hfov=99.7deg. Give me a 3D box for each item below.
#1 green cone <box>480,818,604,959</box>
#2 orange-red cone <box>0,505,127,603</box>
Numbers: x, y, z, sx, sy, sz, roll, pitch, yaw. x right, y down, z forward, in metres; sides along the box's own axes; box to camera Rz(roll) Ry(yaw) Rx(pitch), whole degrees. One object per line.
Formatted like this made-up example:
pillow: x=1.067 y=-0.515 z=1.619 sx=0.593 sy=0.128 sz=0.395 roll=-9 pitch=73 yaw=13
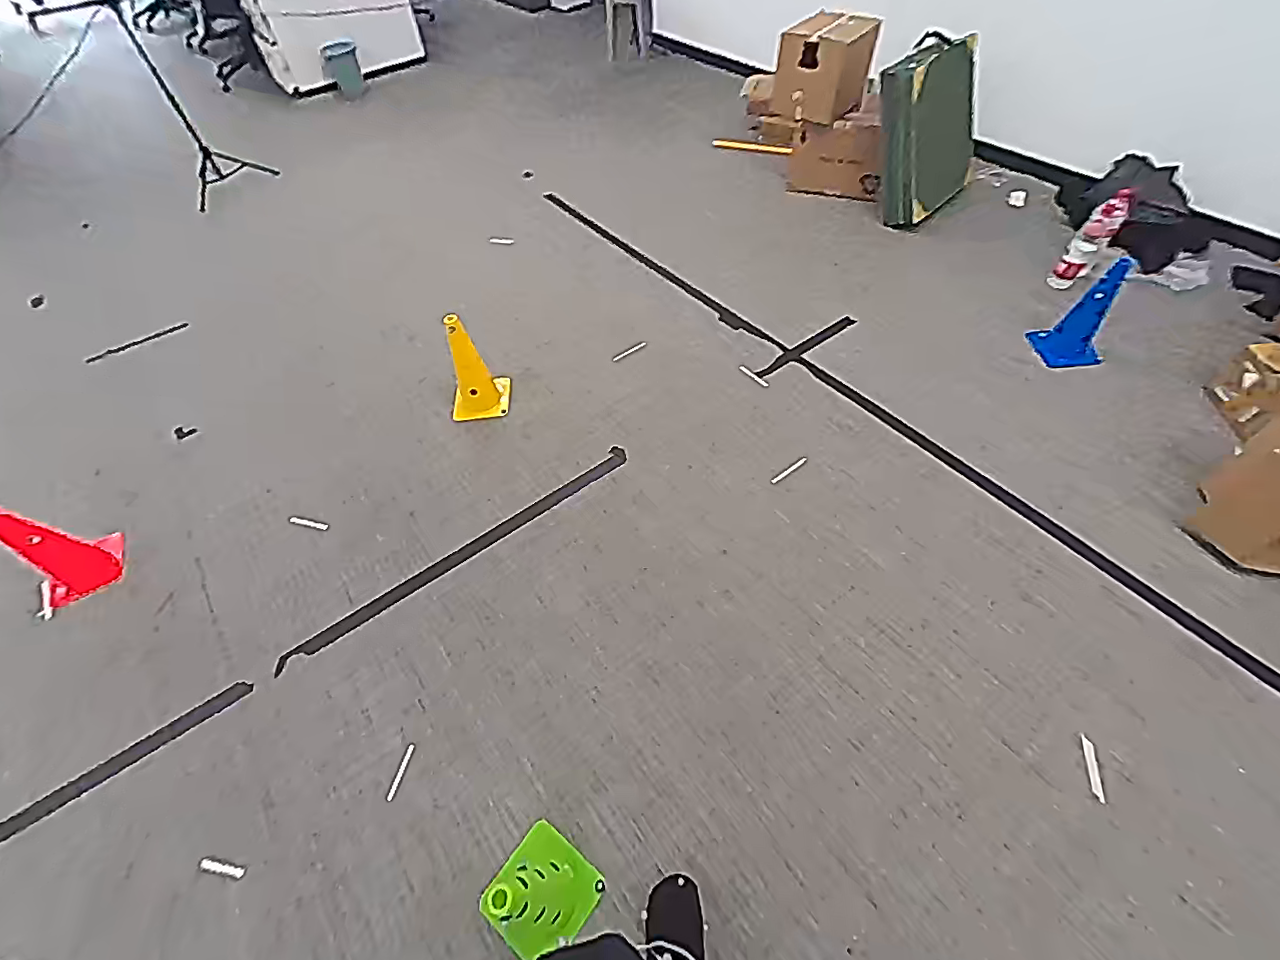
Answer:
green cone: x=-0.216 y=0.753 z=0.985 sx=0.200 sy=0.368 sz=0.202 roll=30 pitch=62 yaw=24
orange-red cone: x=-1.701 y=0.163 z=1.532 sx=0.199 sy=0.360 sz=0.198 roll=-25 pitch=56 yaw=-16
